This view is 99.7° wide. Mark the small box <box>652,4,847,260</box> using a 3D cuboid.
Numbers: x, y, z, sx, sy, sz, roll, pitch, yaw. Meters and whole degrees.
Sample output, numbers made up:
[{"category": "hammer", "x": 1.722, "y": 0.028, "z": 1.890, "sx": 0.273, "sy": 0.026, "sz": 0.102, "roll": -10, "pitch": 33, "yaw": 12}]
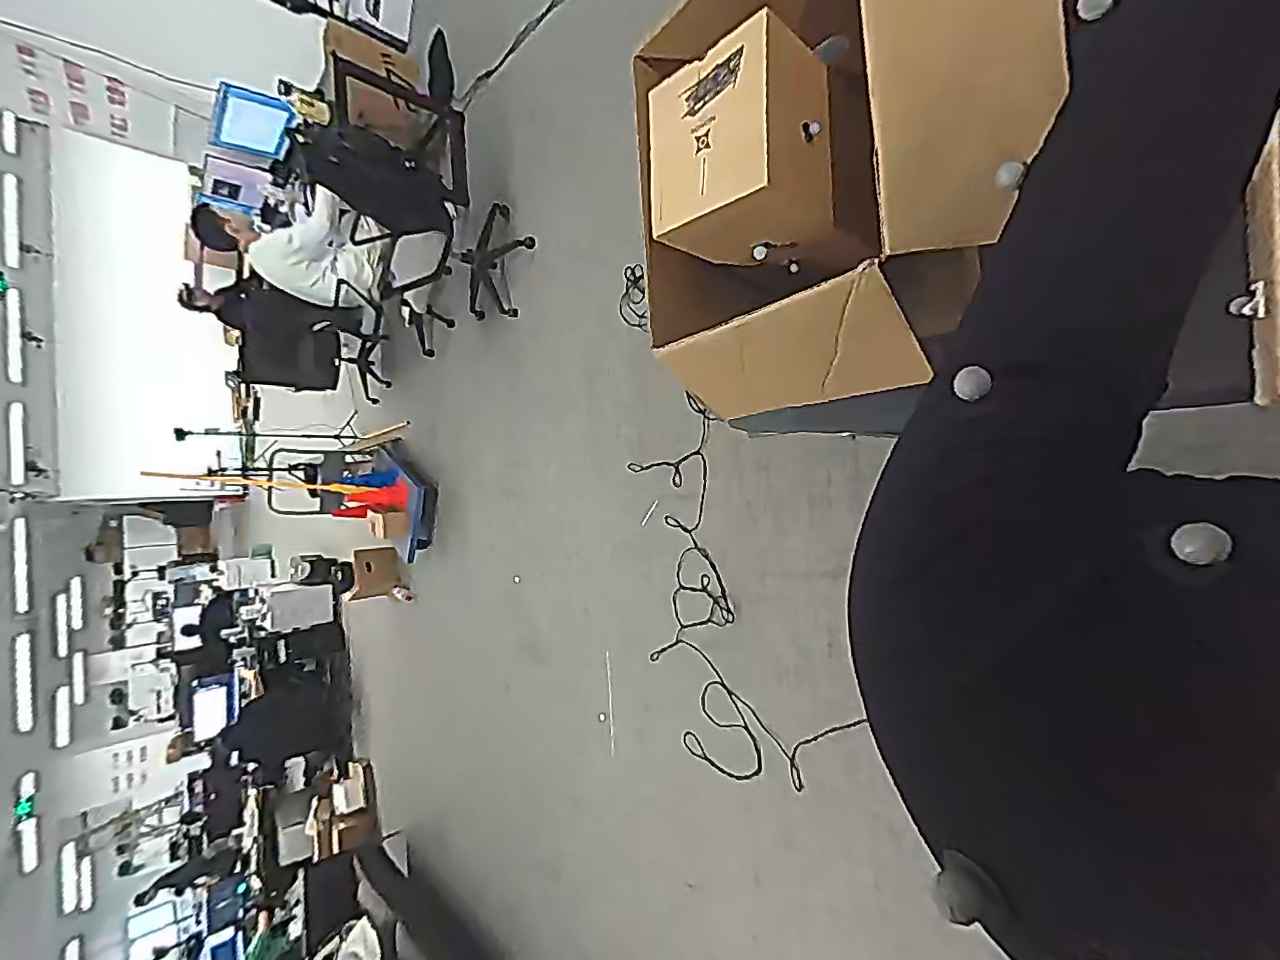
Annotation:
[{"category": "small box", "x": 0.132, "y": -0.387, "z": 0.643, "sx": 0.168, "sy": 0.176, "sz": 0.179, "roll": 1, "pitch": 94, "yaw": 46}]
